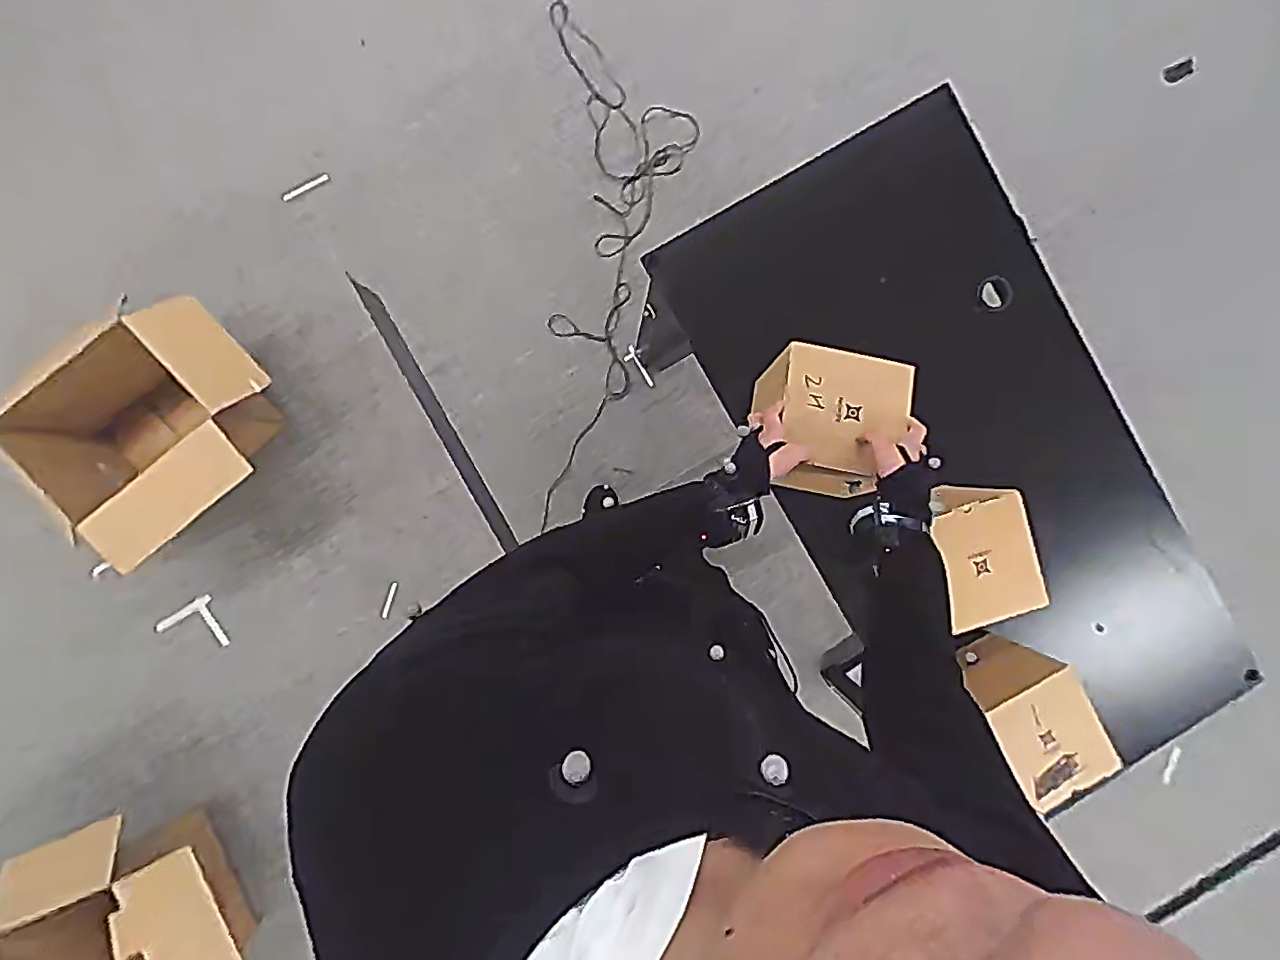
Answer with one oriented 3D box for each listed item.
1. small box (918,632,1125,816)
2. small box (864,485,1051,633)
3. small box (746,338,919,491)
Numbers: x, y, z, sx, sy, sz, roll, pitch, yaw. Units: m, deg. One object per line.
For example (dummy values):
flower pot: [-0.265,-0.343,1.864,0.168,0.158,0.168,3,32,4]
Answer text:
small box: [0.588,0.371,0.856,0.168,0.176,0.179,-28,91,-3]
small box: [0.482,0.112,0.844,0.168,0.176,0.179,-17,91,-3]
small box: [0.270,-0.083,0.786,0.179,0.176,0.168,10,80,-2]
